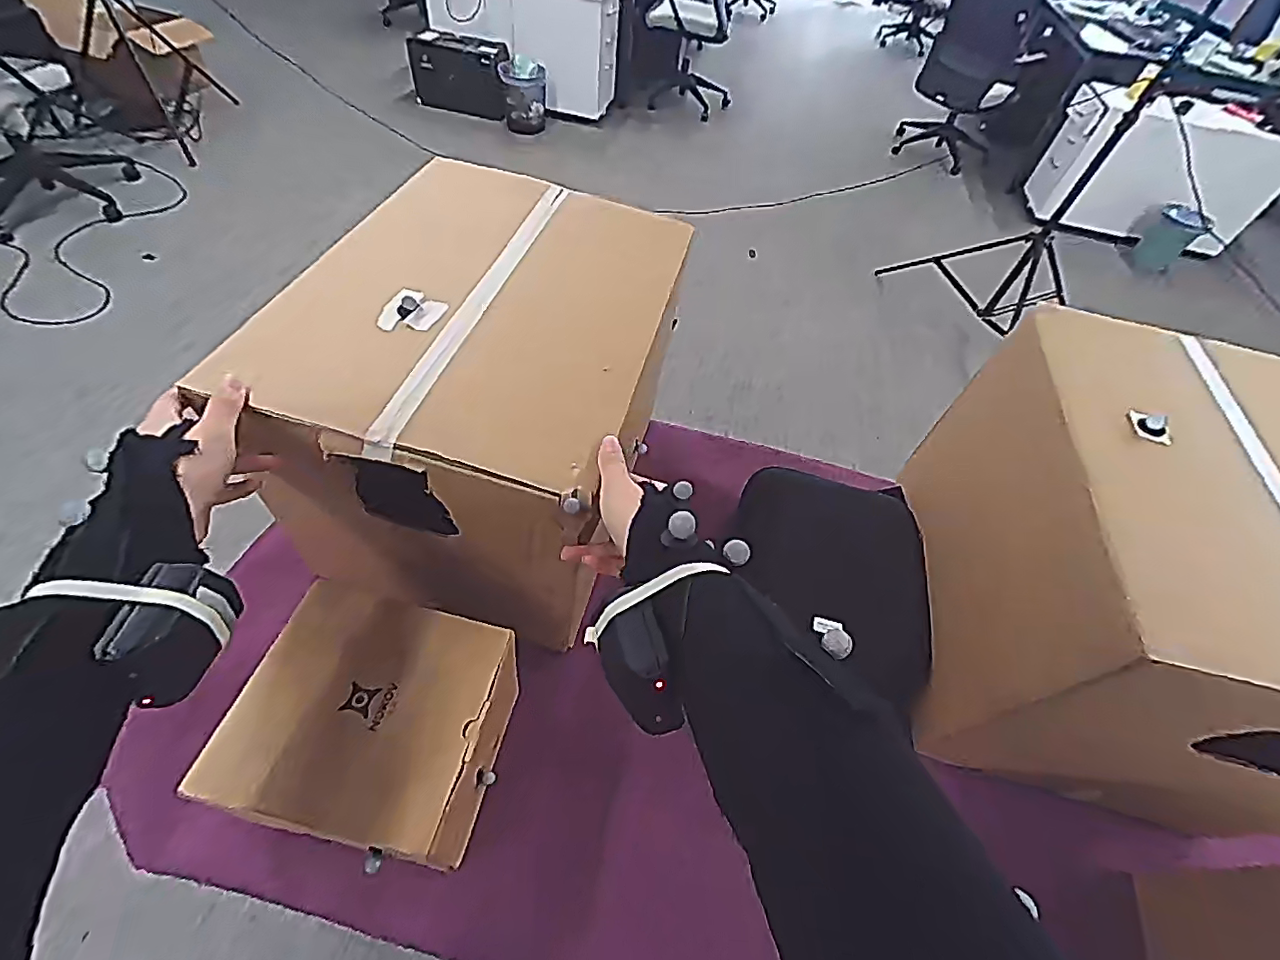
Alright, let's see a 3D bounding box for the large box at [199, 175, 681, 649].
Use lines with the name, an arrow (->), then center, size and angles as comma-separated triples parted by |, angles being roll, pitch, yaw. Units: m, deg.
large box -> -0.160, -0.076, 0.631 | 0.320, 0.320, 0.408 | 15, 55, 2
